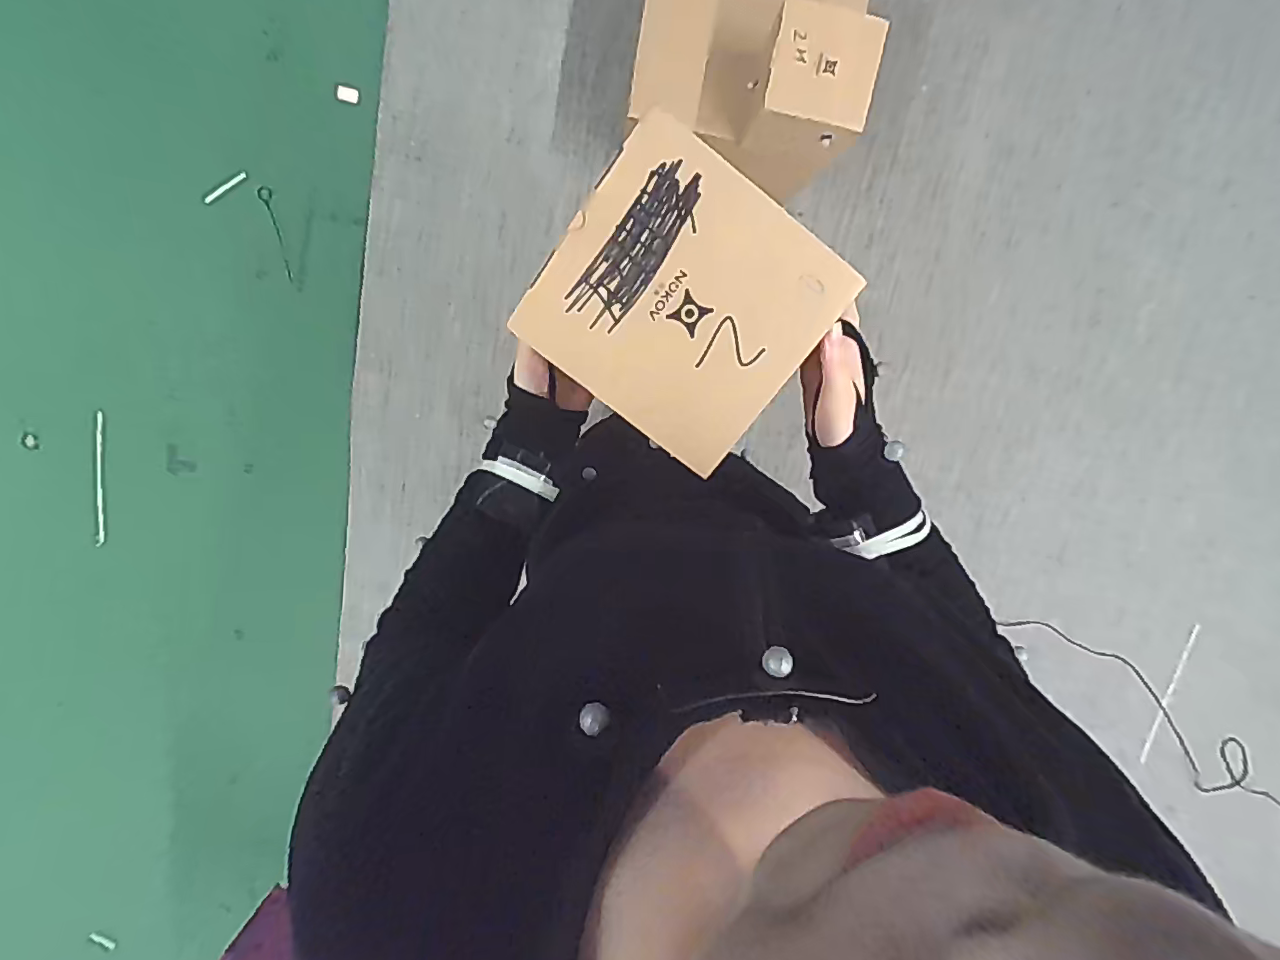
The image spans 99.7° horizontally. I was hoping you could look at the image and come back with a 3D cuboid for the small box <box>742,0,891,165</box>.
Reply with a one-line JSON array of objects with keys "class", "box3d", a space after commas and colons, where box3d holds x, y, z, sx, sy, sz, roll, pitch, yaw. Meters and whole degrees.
[{"class": "small box", "box3d": [0.296, -0.679, 0.945, 0.179, 0.176, 0.168, 11, 101, -4]}]
